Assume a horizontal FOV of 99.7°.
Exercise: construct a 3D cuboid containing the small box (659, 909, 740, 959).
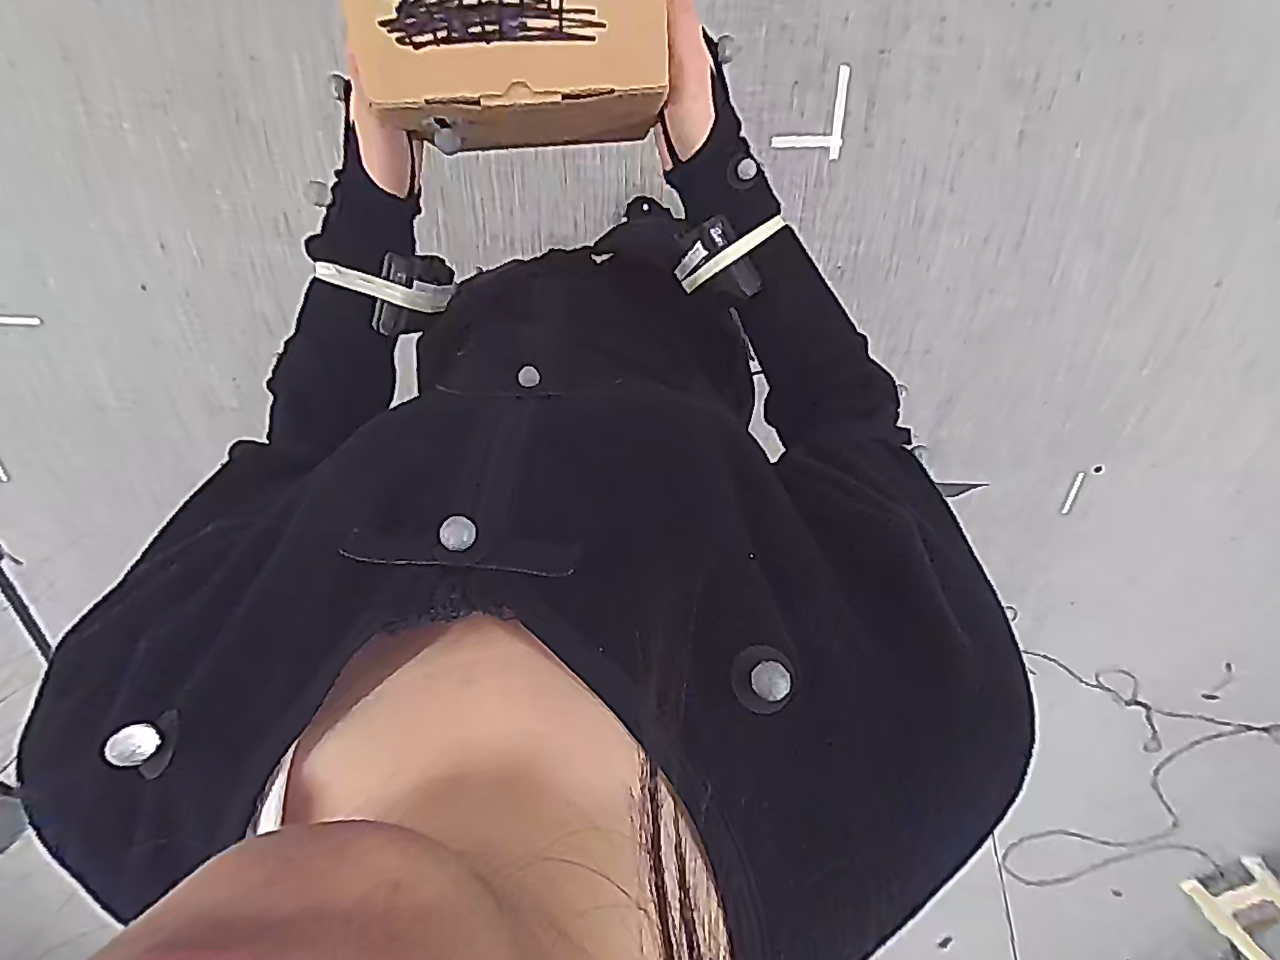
[{"bbox_3d":[0.132,1.107,1.224,0.179,0.176,0.168,-1,118,-1],"label":"small box"}]
